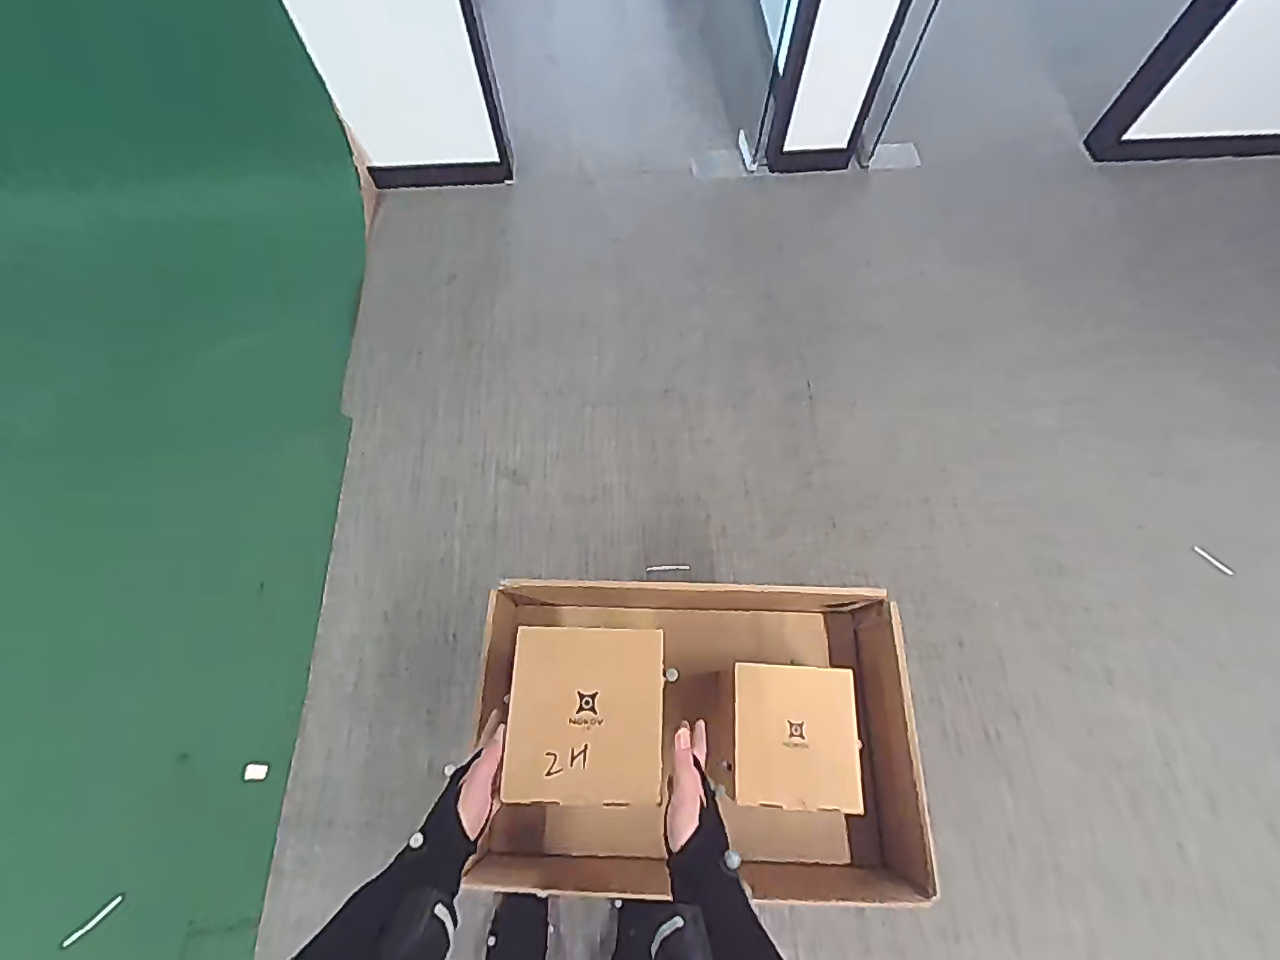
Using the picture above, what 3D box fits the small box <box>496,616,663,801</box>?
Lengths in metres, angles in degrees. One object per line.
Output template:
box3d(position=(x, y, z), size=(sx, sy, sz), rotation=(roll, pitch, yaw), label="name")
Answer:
box3d(position=(-0.060, 0.266, 0.641), size=(0.168, 0.176, 0.179), rotation=(1, 67, 1), label="small box")
